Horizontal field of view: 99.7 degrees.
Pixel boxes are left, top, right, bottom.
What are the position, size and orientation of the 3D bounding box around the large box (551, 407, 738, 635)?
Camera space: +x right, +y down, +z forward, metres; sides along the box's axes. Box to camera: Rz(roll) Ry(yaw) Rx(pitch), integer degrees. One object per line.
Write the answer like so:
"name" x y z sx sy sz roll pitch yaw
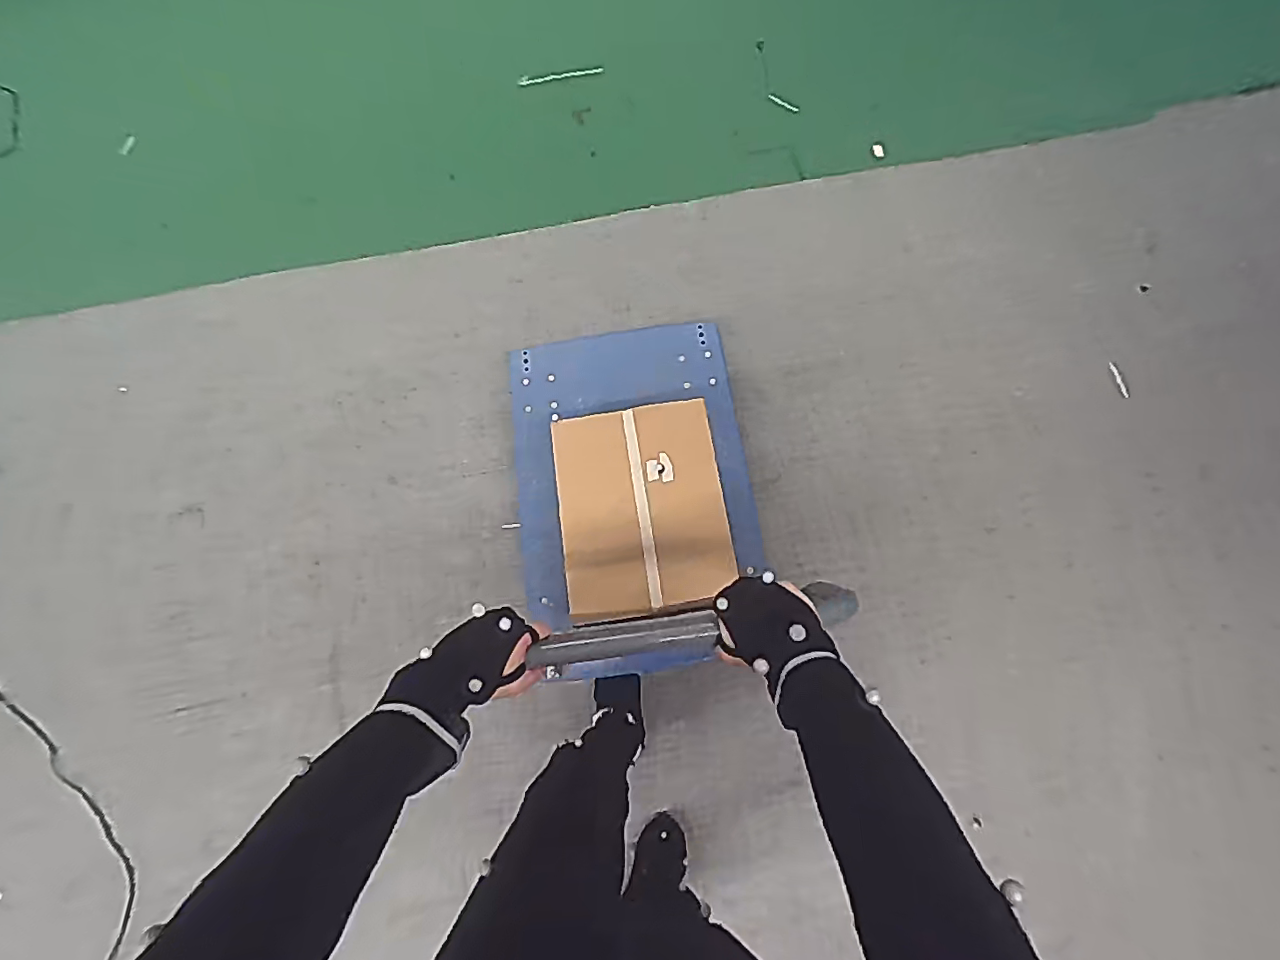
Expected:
"large box" 0.008 0.106 1.183 0.320 0.320 0.408 -9 72 0
